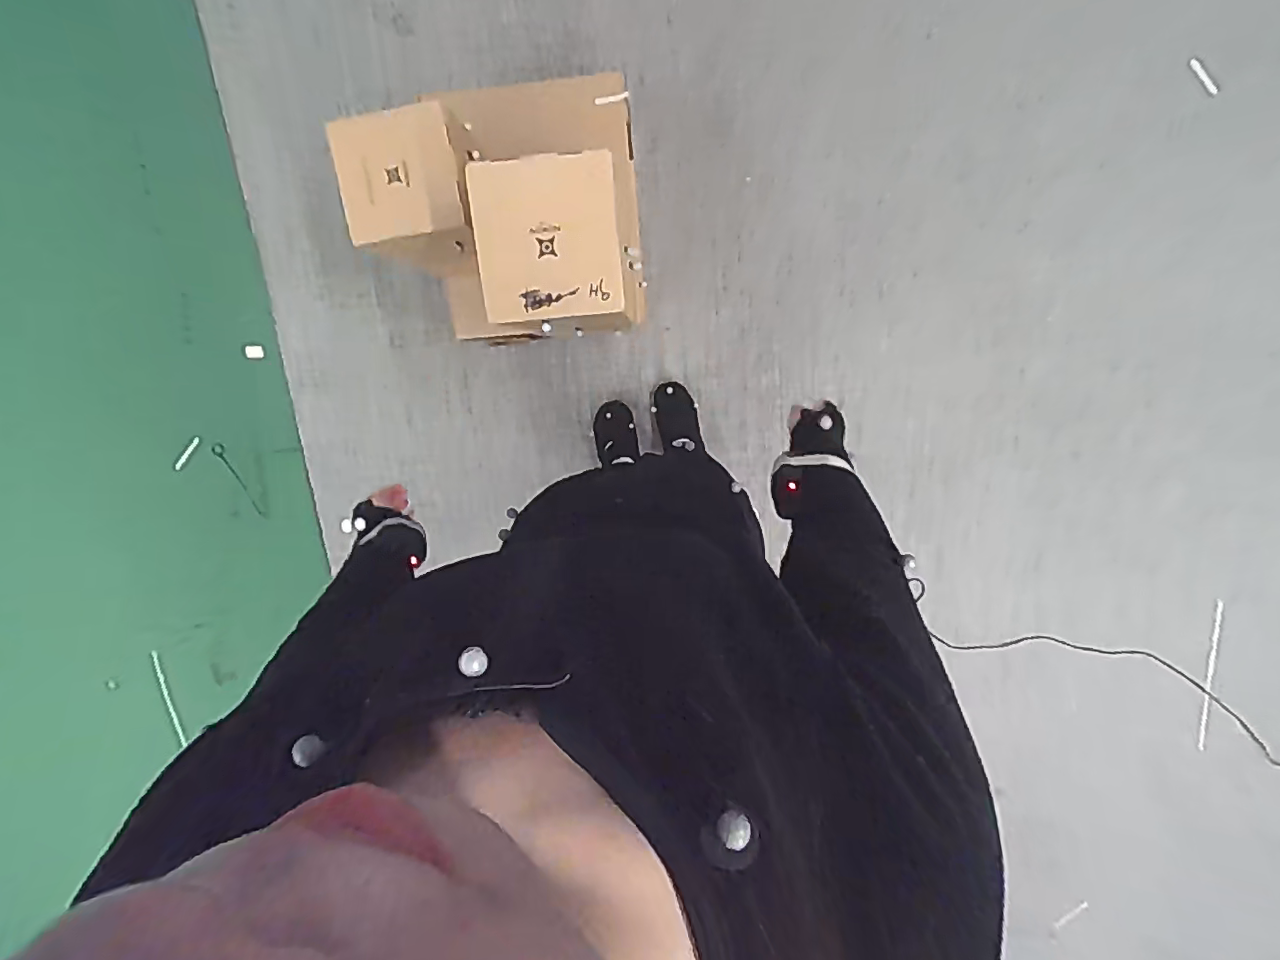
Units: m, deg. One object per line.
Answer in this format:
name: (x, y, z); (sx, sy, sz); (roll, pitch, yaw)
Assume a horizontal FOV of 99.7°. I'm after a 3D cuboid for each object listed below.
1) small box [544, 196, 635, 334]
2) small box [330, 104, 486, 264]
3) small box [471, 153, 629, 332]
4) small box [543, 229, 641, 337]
small box: (-0.096, -0.329, 0.855); (0.168, 0.176, 0.179); (-4, 103, 3)
small box: (-0.335, -0.446, 0.842); (0.179, 0.176, 0.168); (-6, 100, 5)
small box: (-0.103, -0.290, 0.695); (0.168, 0.176, 0.179); (-3, 103, 2)
small box: (-0.088, -0.361, 1.015); (0.179, 0.176, 0.168); (-4, 102, 3)
